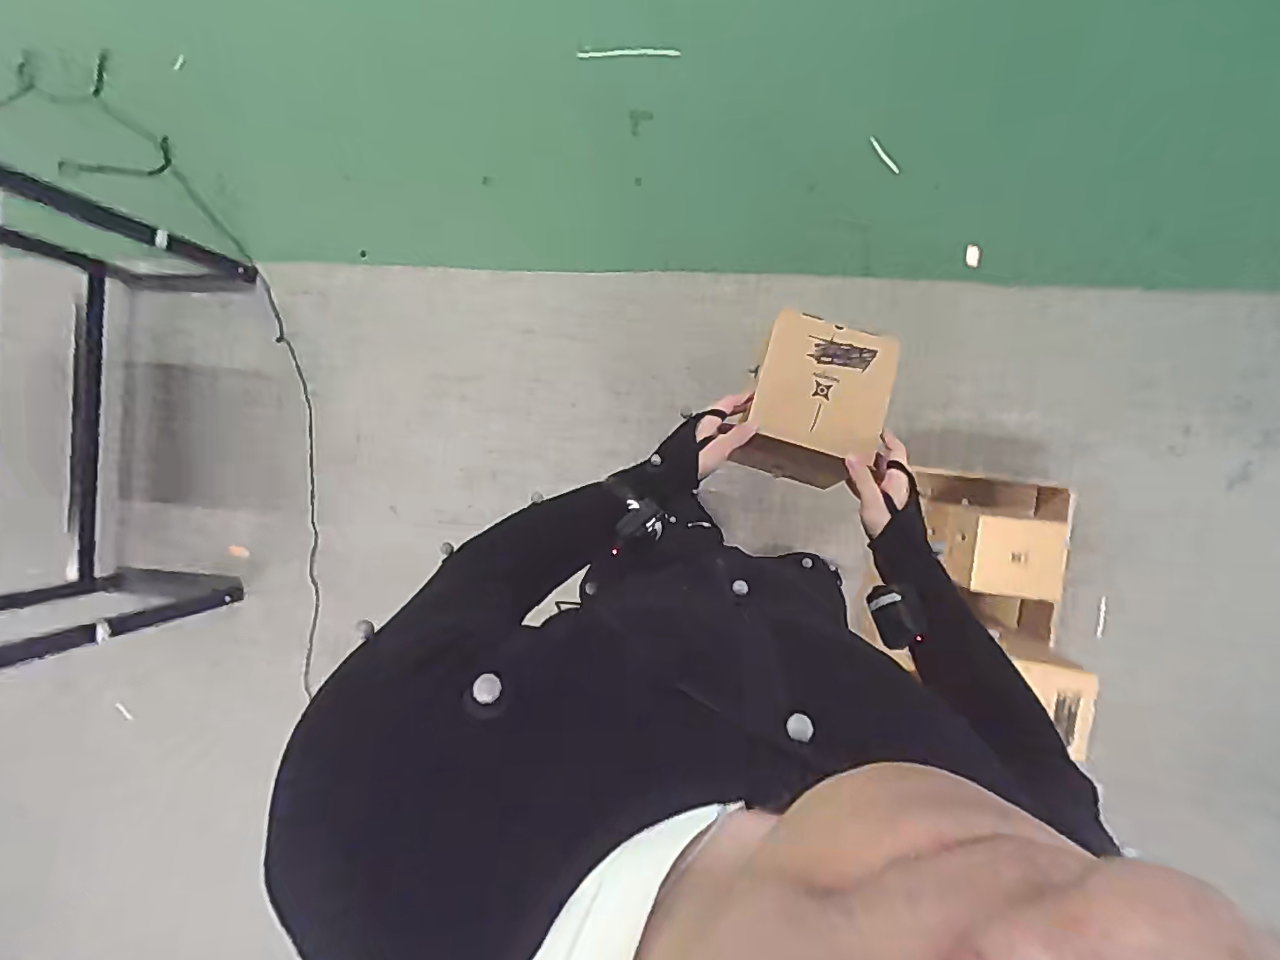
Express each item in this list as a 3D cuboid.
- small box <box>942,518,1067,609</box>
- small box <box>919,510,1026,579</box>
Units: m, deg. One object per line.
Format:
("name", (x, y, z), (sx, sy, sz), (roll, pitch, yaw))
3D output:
("small box", (0.806, 0.178, 1.214), (0.179, 0.176, 0.168), (6, 92, 9))
("small box", (0.833, 0.171, 1.373), (0.179, 0.176, 0.168), (7, 93, 9))
